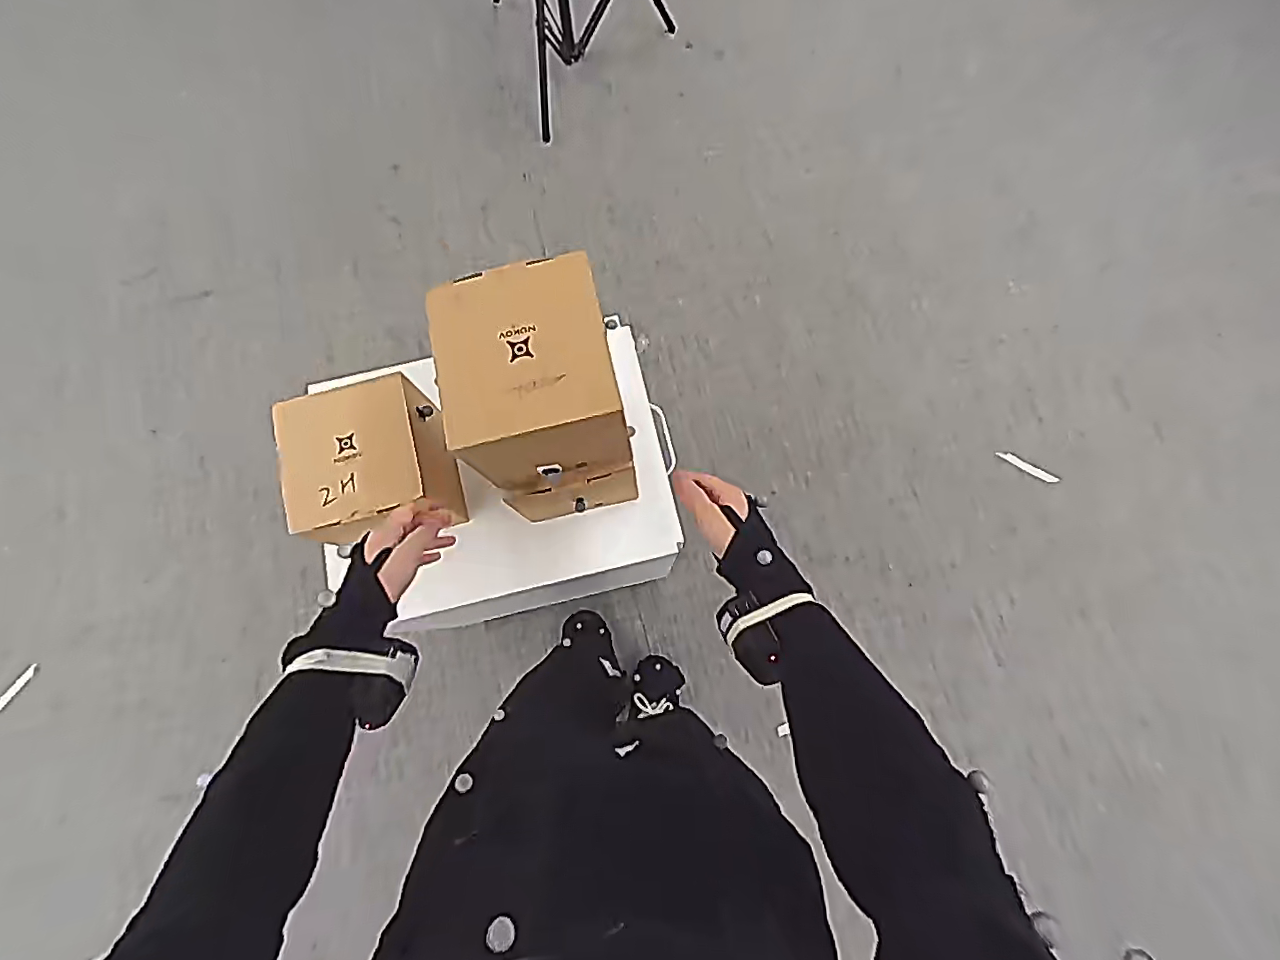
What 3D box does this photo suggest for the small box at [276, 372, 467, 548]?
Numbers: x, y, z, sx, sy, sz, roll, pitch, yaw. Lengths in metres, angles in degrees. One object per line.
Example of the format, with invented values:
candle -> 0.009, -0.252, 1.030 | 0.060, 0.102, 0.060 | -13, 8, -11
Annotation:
small box -> -0.354, -0.018, 0.737 | 0.168, 0.176, 0.179 | -16, 77, -3

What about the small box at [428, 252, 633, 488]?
small box -> -0.107, -0.107, 0.587 | 0.168, 0.176, 0.179 | -14, 77, -1

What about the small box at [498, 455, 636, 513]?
small box -> -0.102, -0.057, 0.742 | 0.168, 0.176, 0.179 | -13, 78, -2
